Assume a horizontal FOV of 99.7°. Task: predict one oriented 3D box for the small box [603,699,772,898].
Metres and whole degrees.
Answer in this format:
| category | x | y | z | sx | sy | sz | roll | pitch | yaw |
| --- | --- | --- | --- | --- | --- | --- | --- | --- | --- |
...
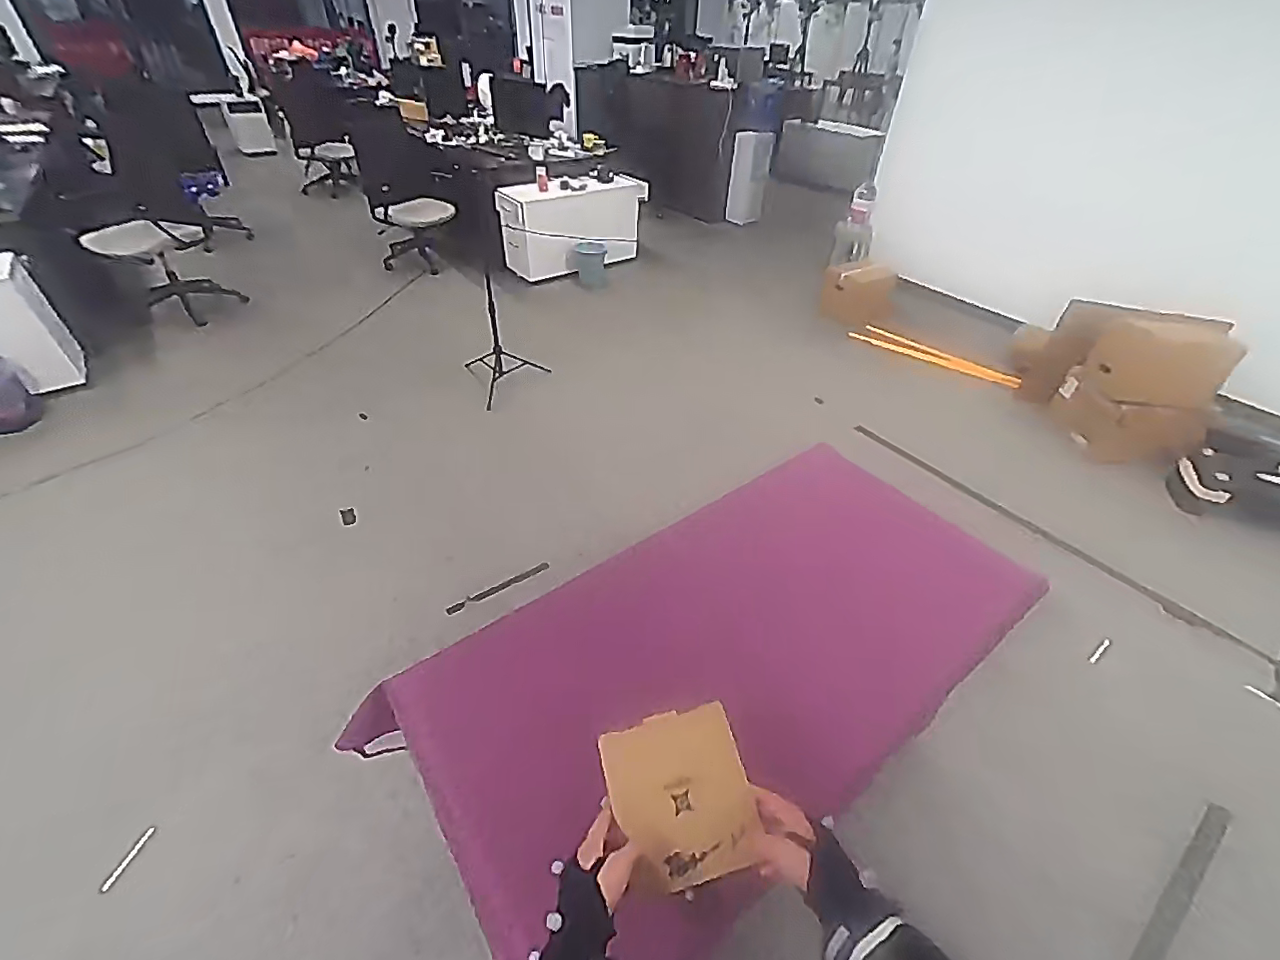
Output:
| category | x | y | z | sx | sy | sz | roll | pitch | yaw |
| --- | --- | --- | --- | --- | --- | --- | --- | --- | --- |
| small box | 0.049 | 0.414 | 0.710 | 0.168 | 0.176 | 0.179 | -13 | 58 | -9 |
